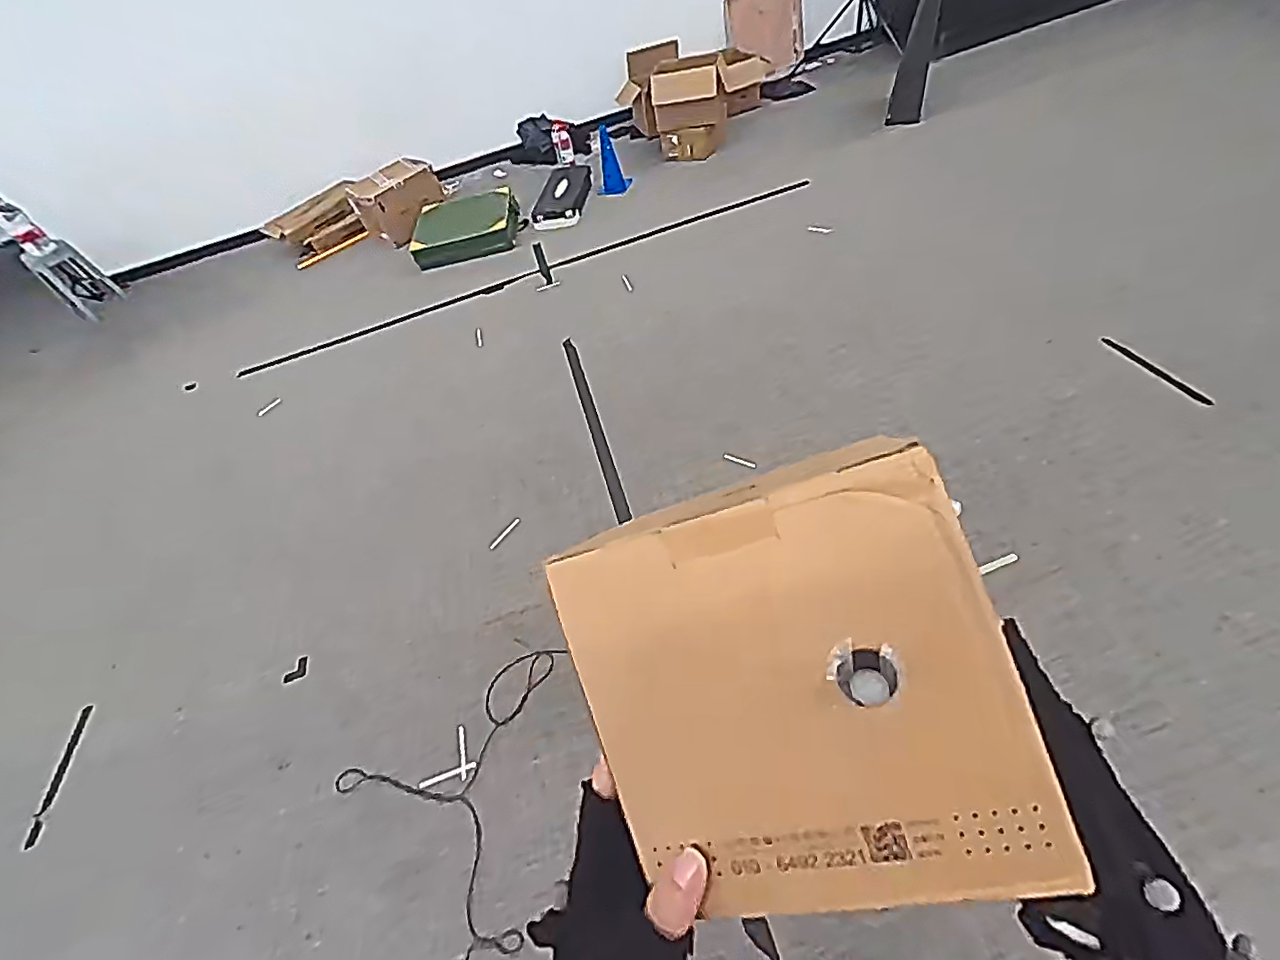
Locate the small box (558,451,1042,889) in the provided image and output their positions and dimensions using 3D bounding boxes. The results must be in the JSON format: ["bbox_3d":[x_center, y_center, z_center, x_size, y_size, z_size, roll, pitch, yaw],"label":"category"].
[{"bbox_3d":[0.085,0.093,0.307,0.168,0.179,0.176,-20,88,20],"label":"small box"}]
